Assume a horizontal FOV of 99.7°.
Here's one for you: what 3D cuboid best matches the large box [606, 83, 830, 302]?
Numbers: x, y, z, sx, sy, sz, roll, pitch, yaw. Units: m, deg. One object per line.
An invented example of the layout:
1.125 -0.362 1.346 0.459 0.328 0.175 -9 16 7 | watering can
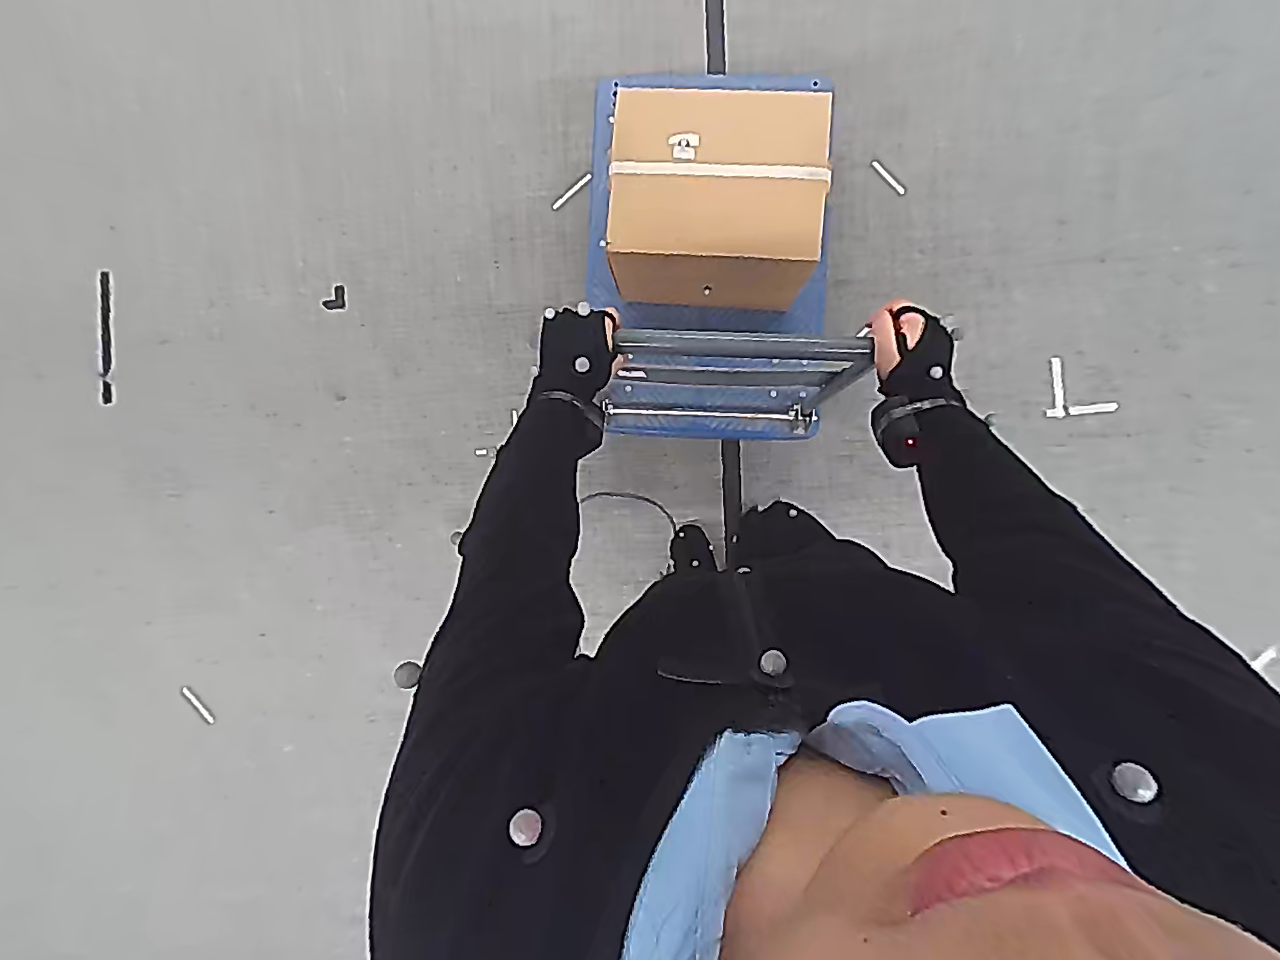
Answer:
0.157 -0.579 1.148 0.408 0.320 0.320 4 90 6 | large box
